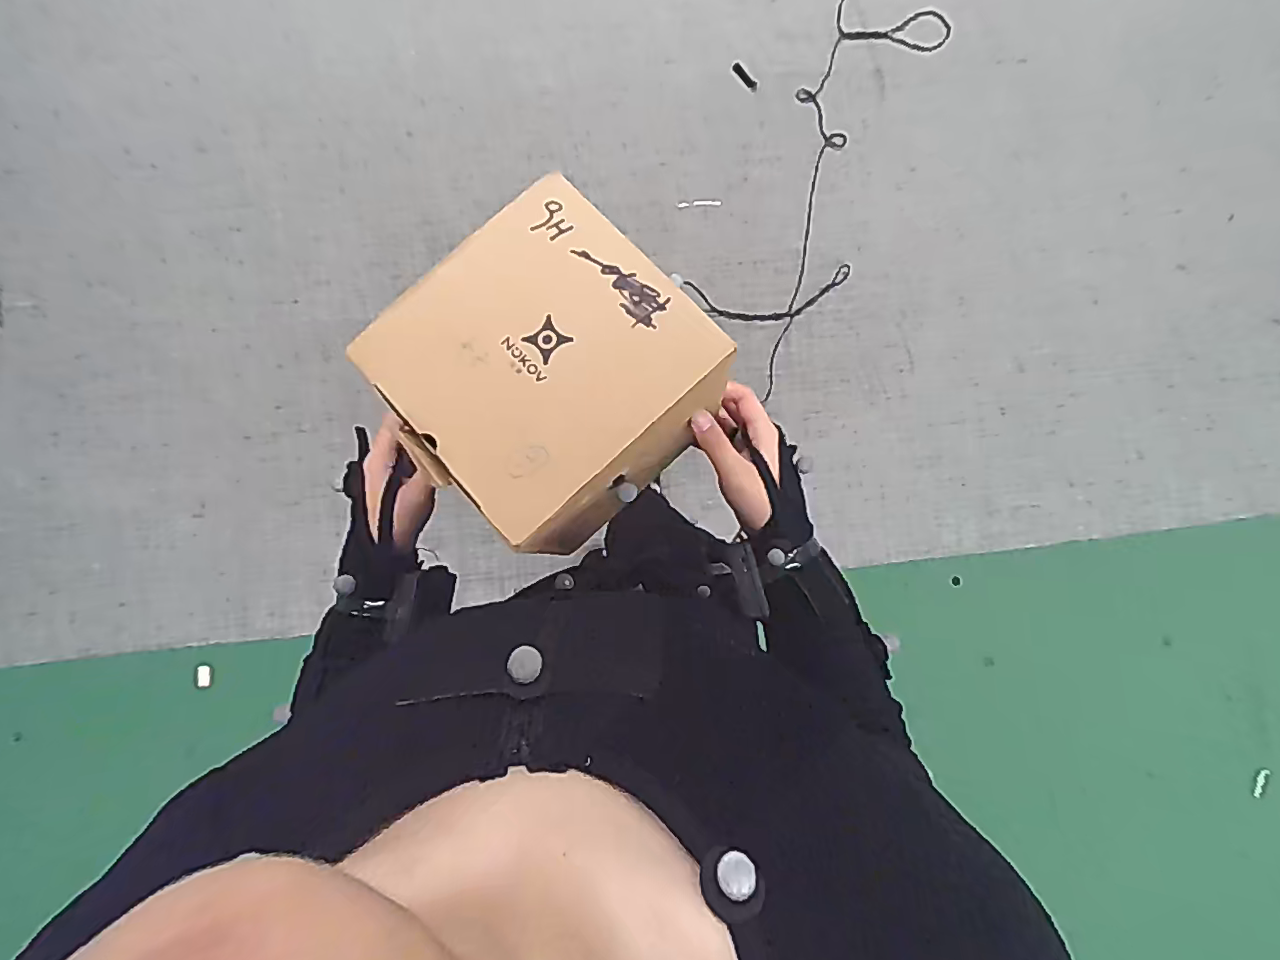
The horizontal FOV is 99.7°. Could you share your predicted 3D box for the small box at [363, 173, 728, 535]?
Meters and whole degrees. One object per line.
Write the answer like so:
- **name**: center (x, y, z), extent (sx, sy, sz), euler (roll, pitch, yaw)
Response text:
- **small box**: center (-0.054, -0.072, 0.412), extent (0.179, 0.176, 0.168), euler (-43, 81, -3)
